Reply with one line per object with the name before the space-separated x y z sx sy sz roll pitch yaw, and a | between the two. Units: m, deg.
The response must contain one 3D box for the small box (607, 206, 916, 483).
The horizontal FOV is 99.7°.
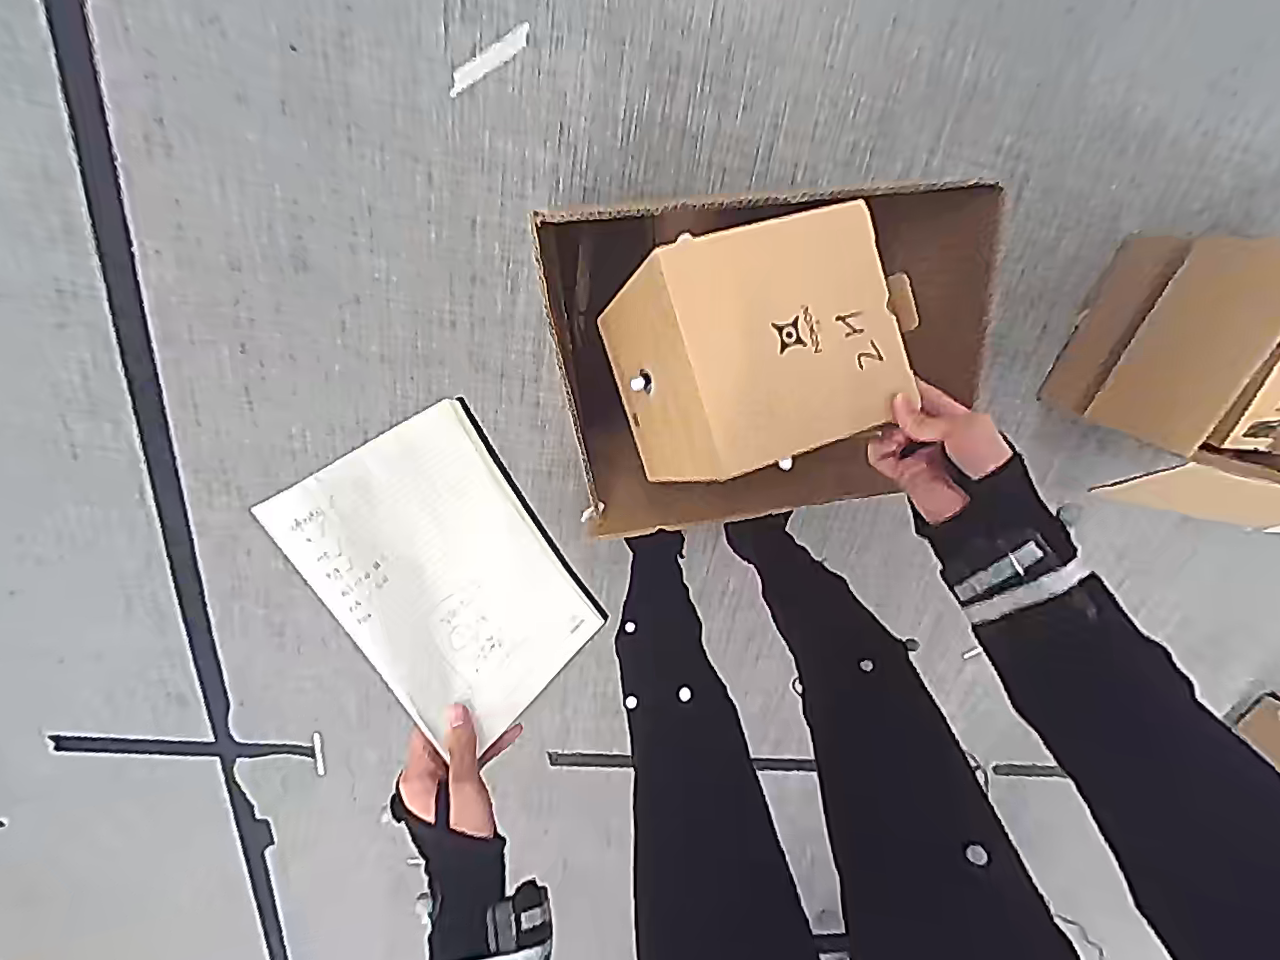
small box | 0.083 -0.098 0.454 0.179 0.176 0.168 -20 96 -18
